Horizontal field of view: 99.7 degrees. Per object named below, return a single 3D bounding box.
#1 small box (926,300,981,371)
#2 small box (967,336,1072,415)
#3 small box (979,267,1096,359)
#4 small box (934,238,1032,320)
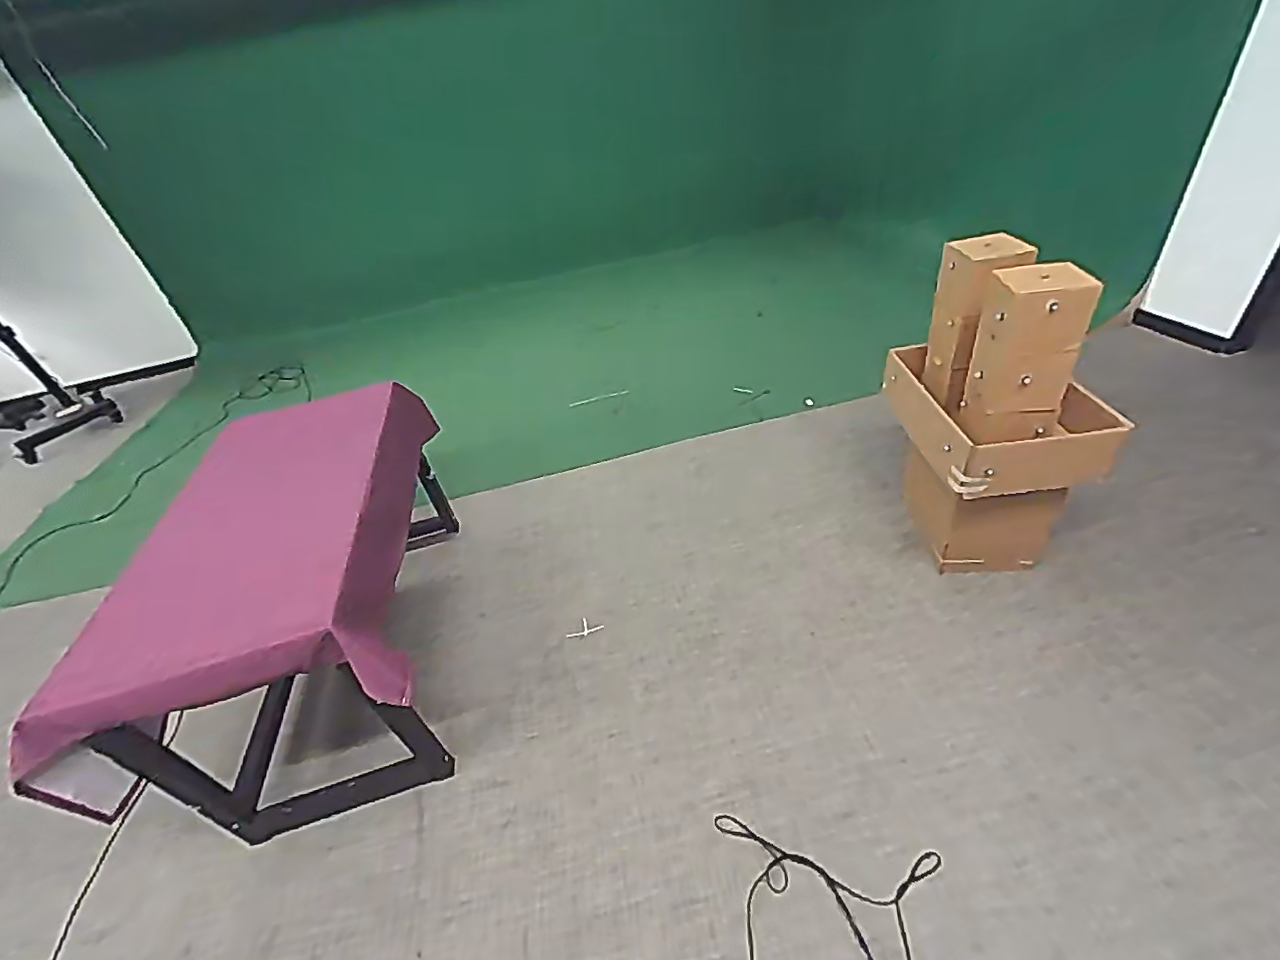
[{"bbox_3d":[1.015,-0.459,1.679,0.168,0.176,0.179,-8,39,4],"label":"small box"},{"bbox_3d":[1.006,-0.287,1.455,0.179,0.176,0.168,-4,38,11],"label":"small box"},{"bbox_3d":[0.980,-0.416,1.357,0.179,0.176,0.168,-2,39,11],"label":"small box"},{"bbox_3d":[0.987,-0.585,1.577,0.168,0.176,0.179,-9,39,4],"label":"small box"}]
